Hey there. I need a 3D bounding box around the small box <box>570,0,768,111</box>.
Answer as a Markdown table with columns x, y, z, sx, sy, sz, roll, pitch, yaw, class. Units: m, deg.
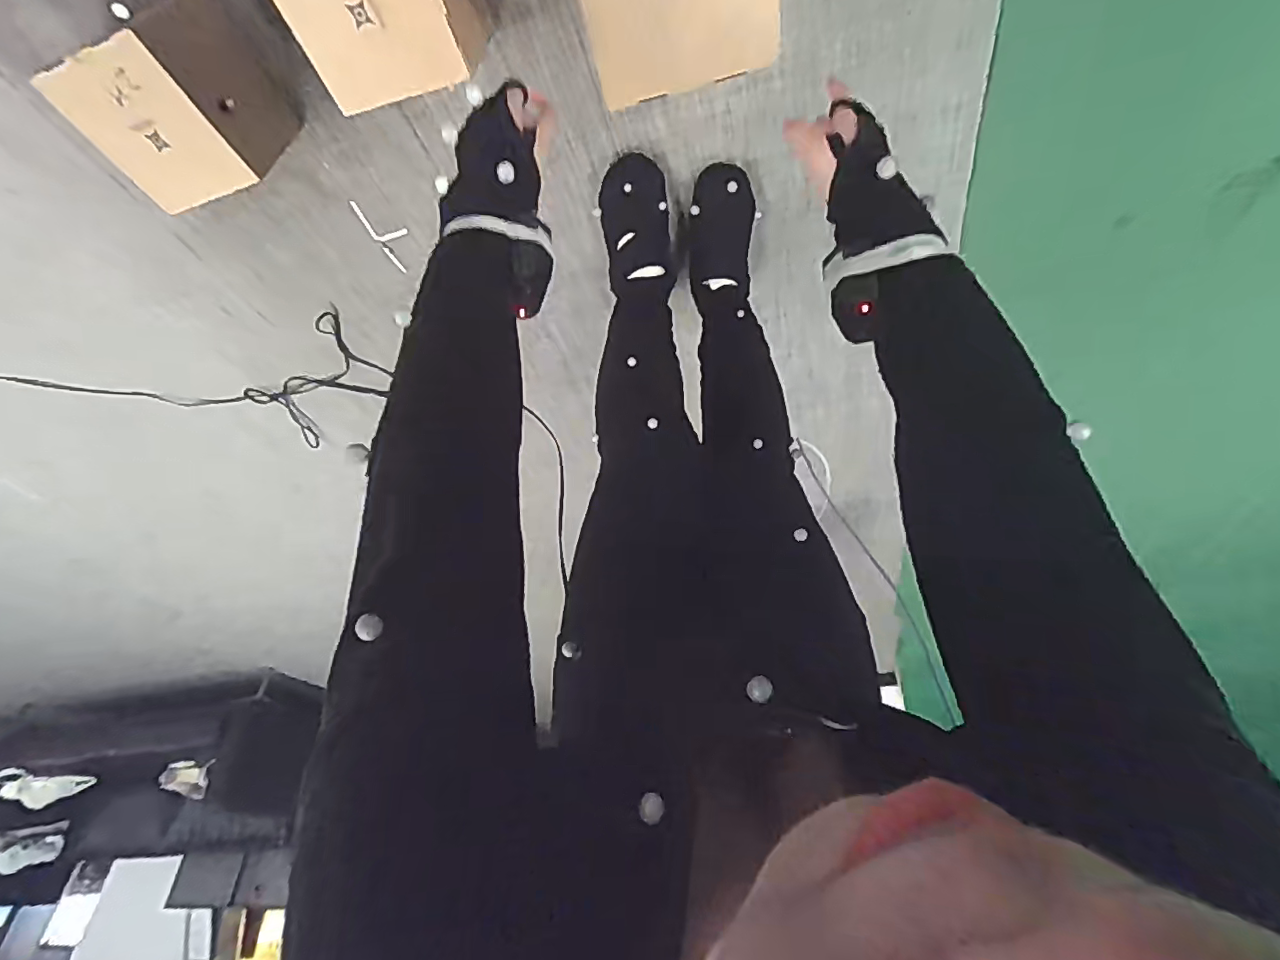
| x | y | z | sx | sy | sz | roll | pitch | yaw | class |
| --- | --- | --- | --- | --- | --- | --- | --- | --- | --- |
| 0.020 | -0.480 | 0.484 | 0.168 | 0.176 | 0.179 | -8 | 145 | 10 | small box |
